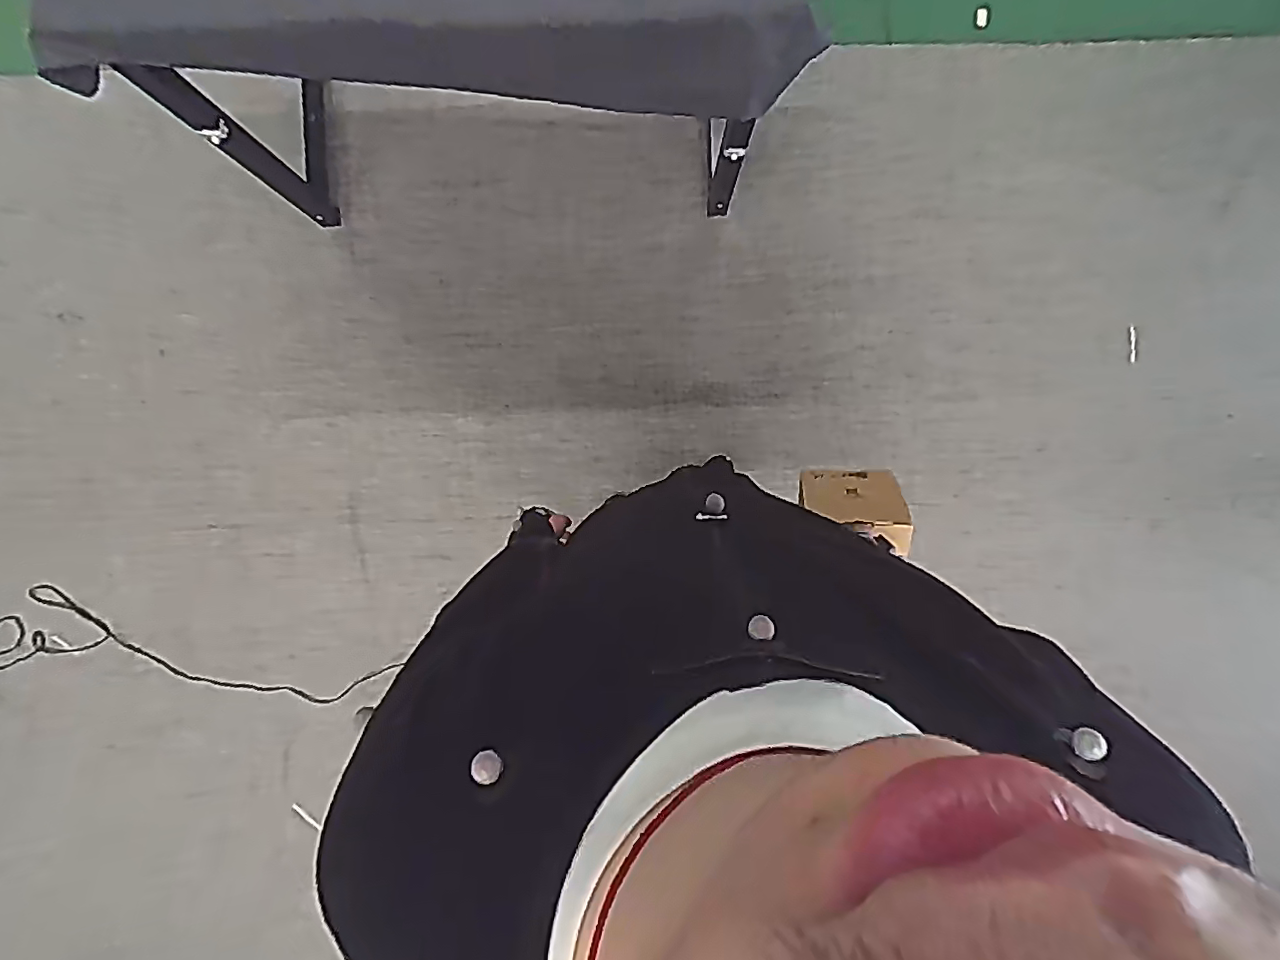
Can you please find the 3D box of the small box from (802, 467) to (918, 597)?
[{"bbox_3d":[0.386,0.093,0.978,0.168,0.179,0.176,-1,123,12],"label":"small box"}]
